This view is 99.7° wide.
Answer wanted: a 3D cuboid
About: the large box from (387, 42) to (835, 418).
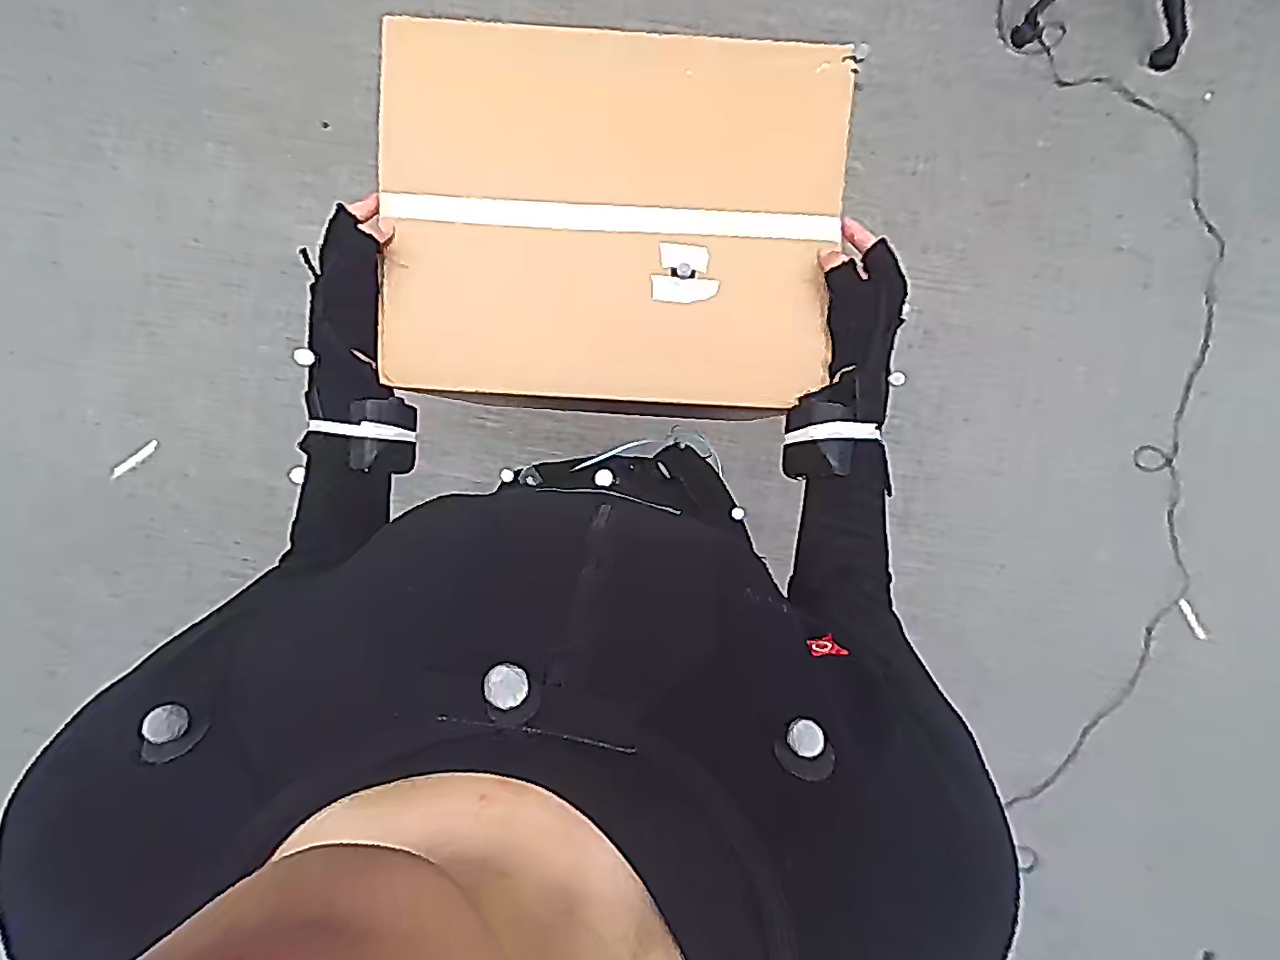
[{"bbox_3d":[-0.033,-0.238,0.637,0.408,0.320,0.320,3,96,-2],"label":"large box"}]
